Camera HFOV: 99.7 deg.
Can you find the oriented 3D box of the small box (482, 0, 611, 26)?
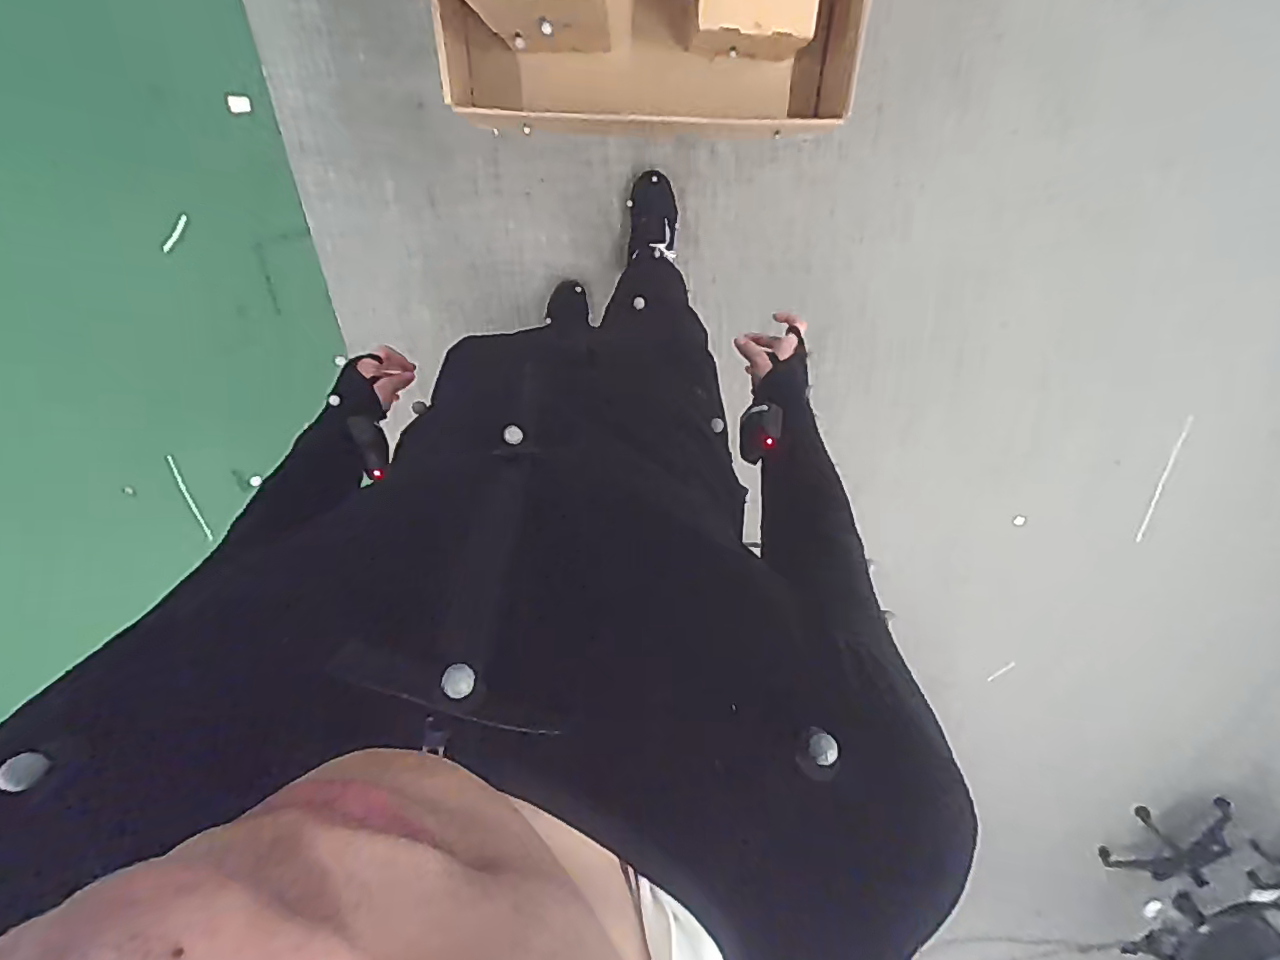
[{"bbox_3d":[-0.118,-0.654,0.619,0.168,0.176,0.179,-1,119,0],"label":"small box"}]
